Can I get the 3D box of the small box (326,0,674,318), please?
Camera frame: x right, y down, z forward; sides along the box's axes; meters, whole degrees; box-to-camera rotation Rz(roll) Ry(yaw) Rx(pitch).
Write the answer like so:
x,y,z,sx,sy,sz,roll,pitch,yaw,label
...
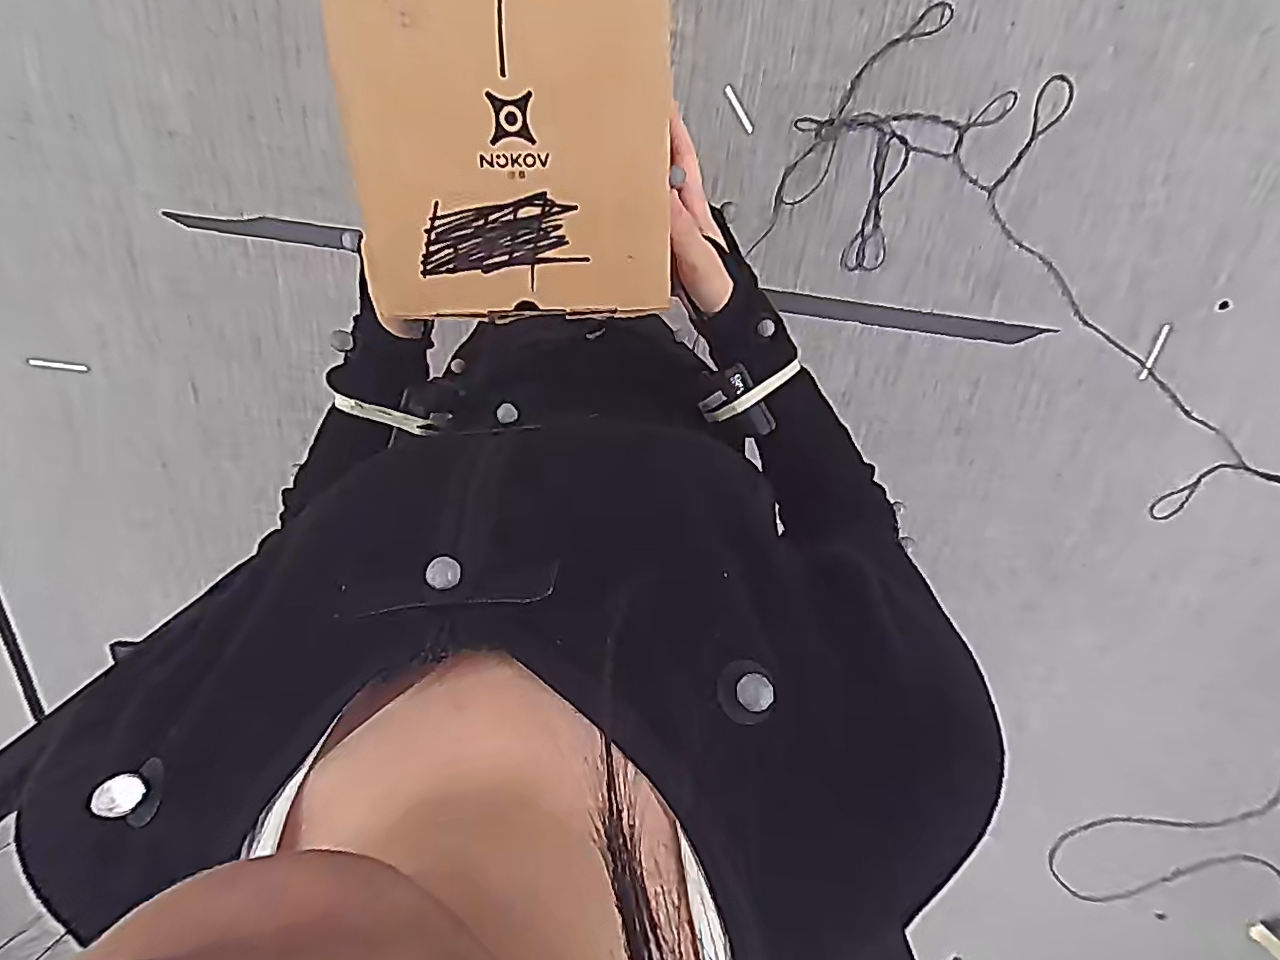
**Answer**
x,y,z,sx,sy,sz,roll,pitch,yaw,label
-0.069,-0.204,0.350,0.168,0.176,0.179,-2,110,-3,small box
